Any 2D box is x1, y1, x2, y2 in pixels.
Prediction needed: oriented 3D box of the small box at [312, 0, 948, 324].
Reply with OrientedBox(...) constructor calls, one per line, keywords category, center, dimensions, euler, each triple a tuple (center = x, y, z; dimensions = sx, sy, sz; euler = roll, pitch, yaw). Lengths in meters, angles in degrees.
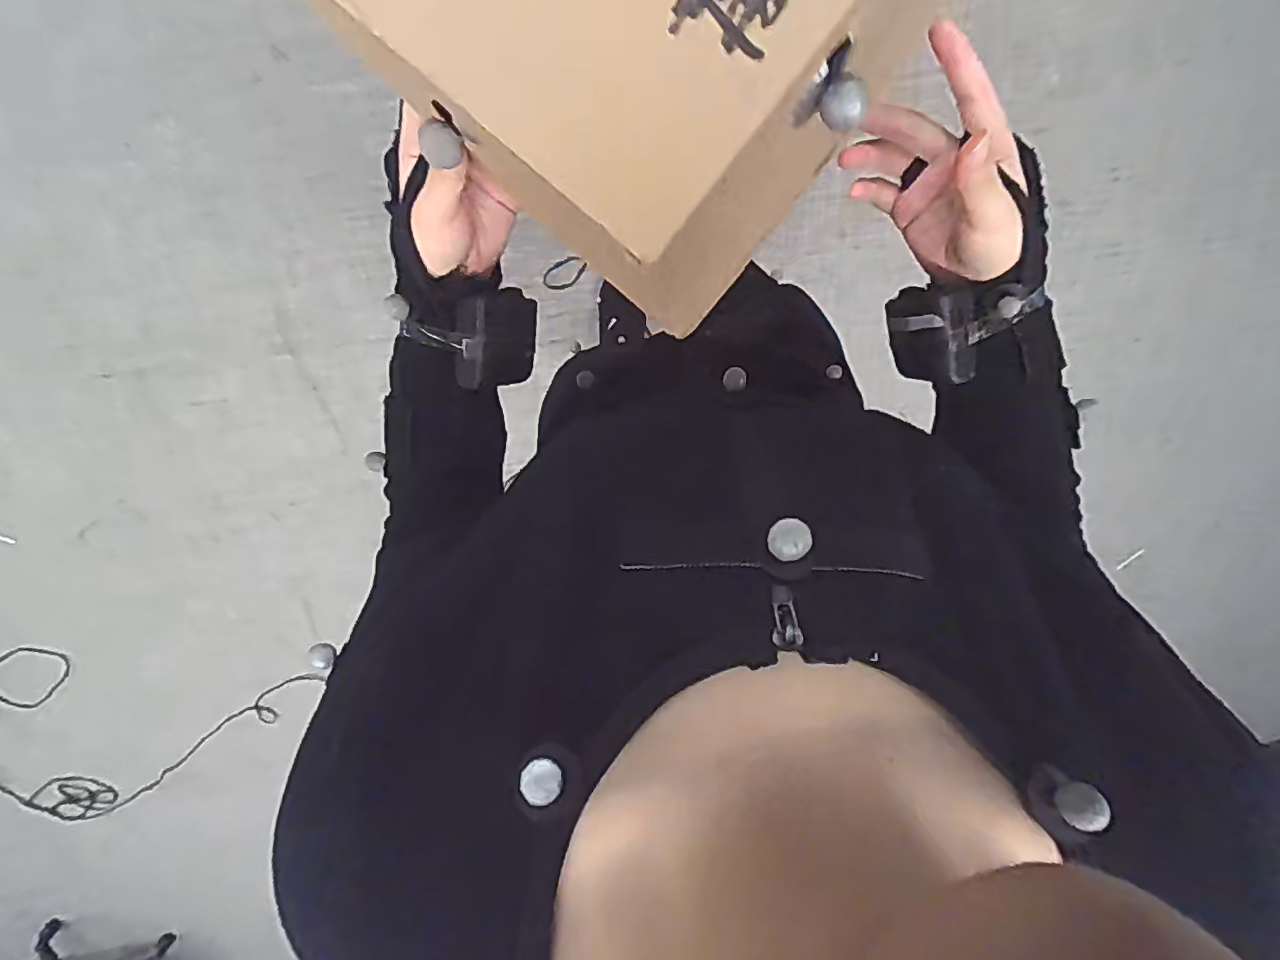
OrientedBox(category="small box", center=(0.002, -0.180, 0.204), dimensions=(0.179, 0.176, 0.168), euler=(39, 102, 1))
